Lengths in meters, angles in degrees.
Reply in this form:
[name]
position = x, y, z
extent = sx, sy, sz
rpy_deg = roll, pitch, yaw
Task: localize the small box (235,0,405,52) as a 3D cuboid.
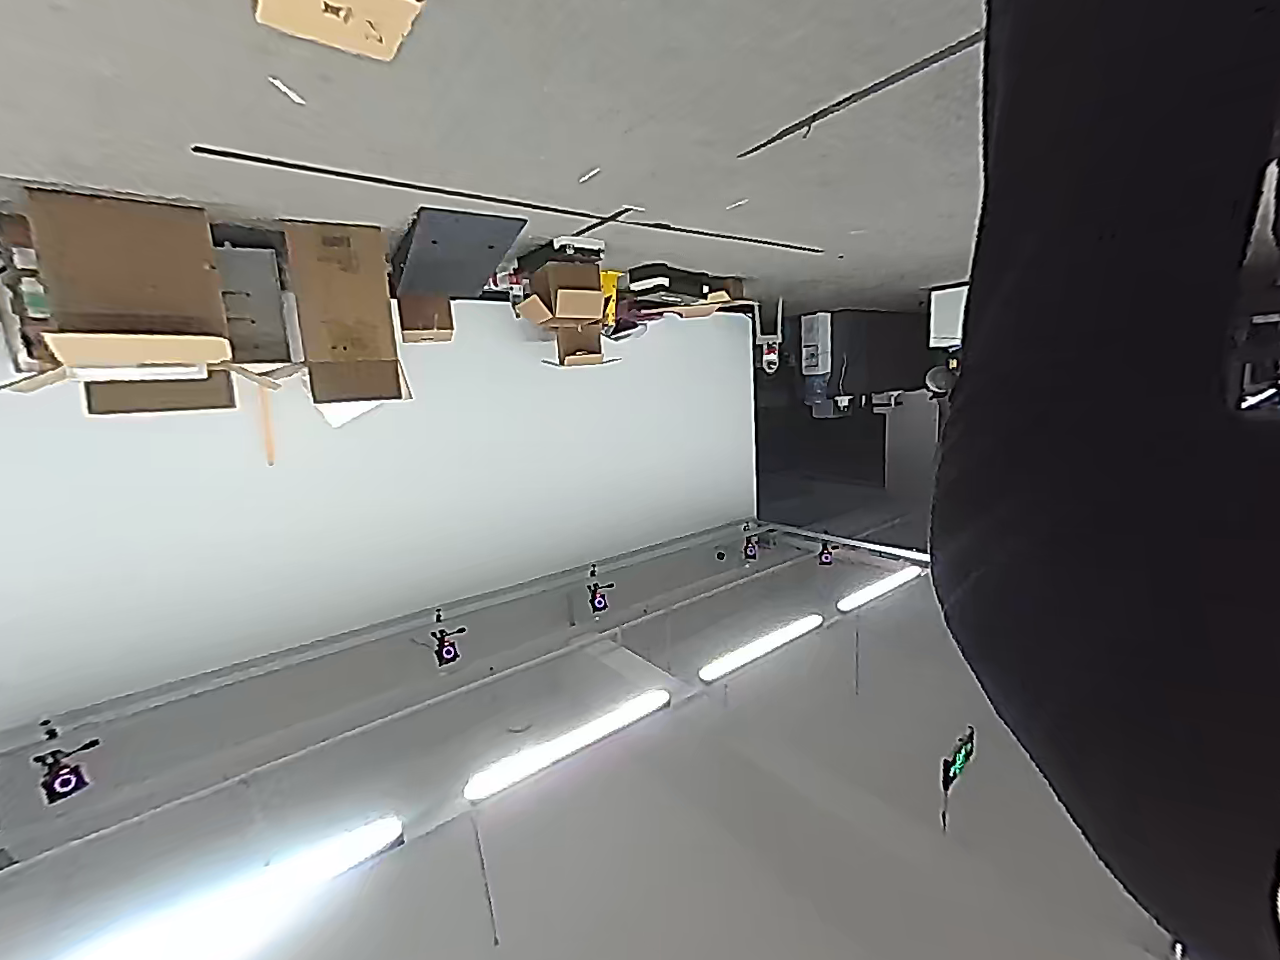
[small box]
position = -0.414, -0.701, 0.682
extent = 0.179, 0.176, 0.168
rpy_deg = -12, -165, -38
